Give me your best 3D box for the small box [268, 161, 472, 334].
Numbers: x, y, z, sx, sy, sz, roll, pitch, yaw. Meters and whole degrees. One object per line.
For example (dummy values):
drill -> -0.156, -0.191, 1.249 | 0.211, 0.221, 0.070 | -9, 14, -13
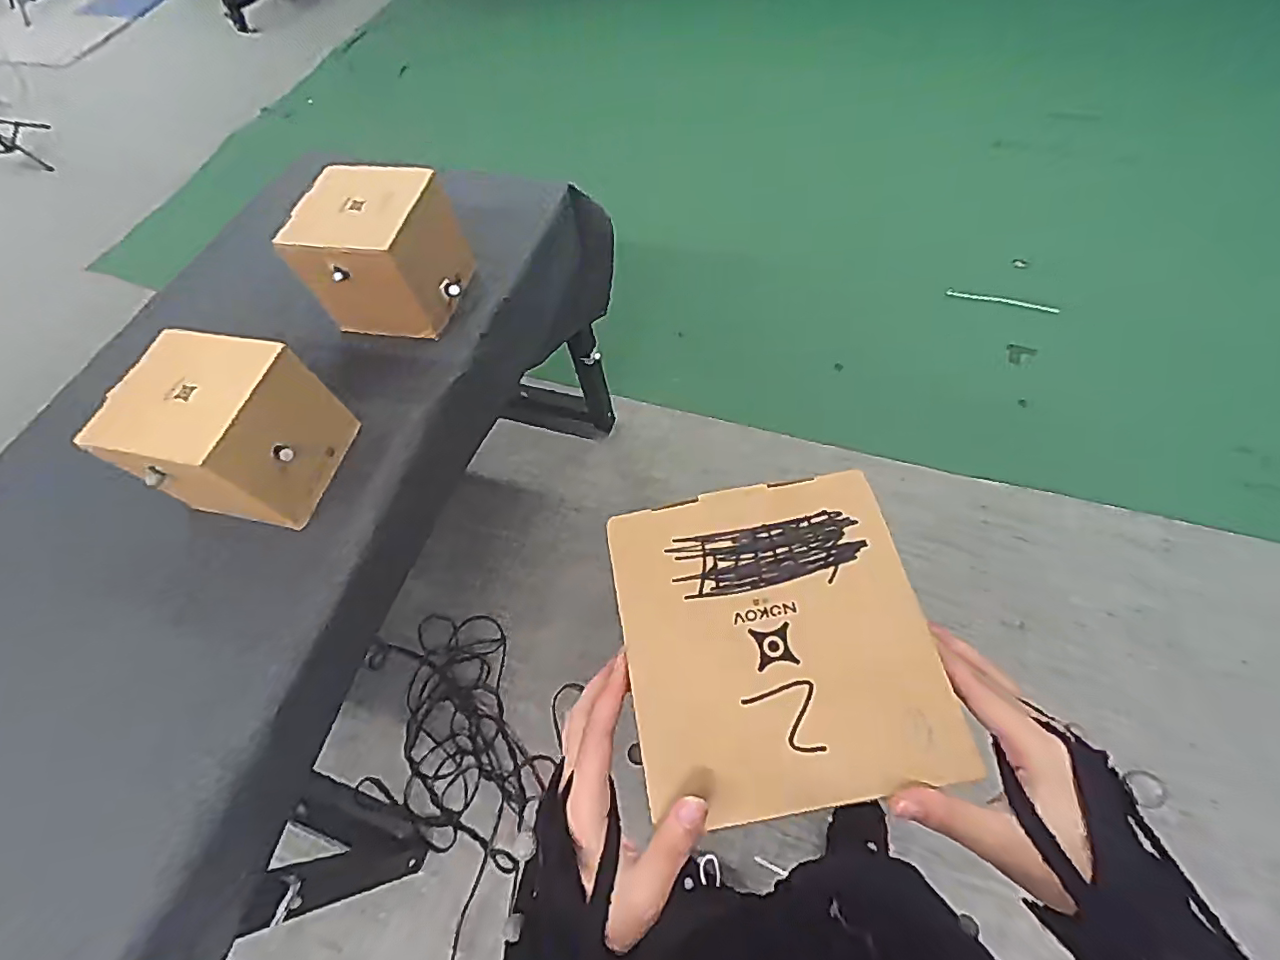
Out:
small box -> -0.378, -0.335, 0.792 | 0.179, 0.176, 0.168 | 8, 65, 10

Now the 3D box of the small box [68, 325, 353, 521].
small box -> -0.497, -0.062, 0.660 | 0.179, 0.176, 0.168 | 9, 64, 11
